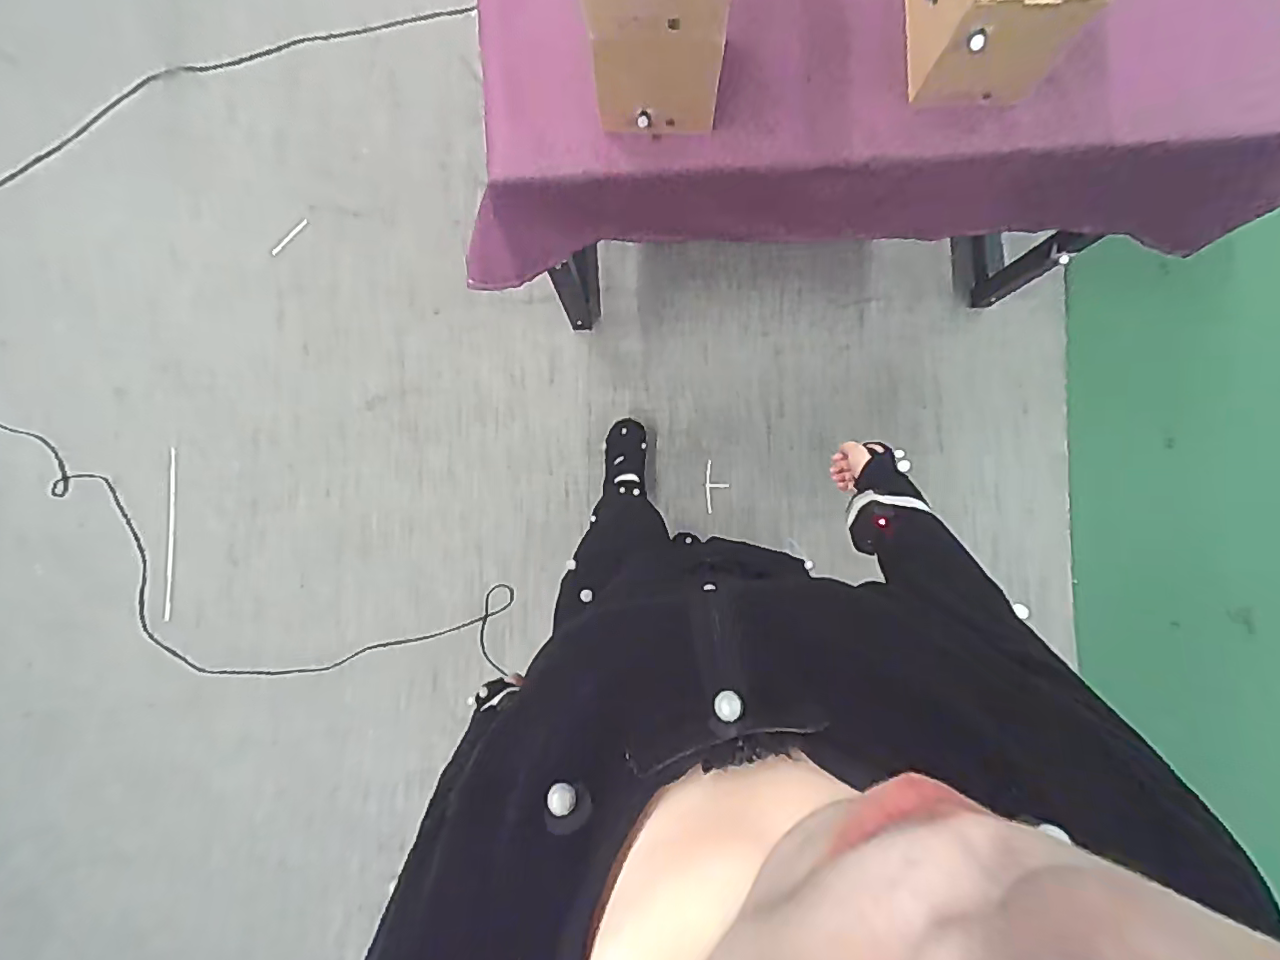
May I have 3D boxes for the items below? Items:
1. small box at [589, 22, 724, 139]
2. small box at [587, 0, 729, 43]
[{"bbox_3d":[0.025,-0.606,0.734,0.168,0.176,0.179,2,87,2],"label":"small box"},{"bbox_3d":[0.020,-0.615,0.569,0.168,0.176,0.179,2,86,3],"label":"small box"}]
